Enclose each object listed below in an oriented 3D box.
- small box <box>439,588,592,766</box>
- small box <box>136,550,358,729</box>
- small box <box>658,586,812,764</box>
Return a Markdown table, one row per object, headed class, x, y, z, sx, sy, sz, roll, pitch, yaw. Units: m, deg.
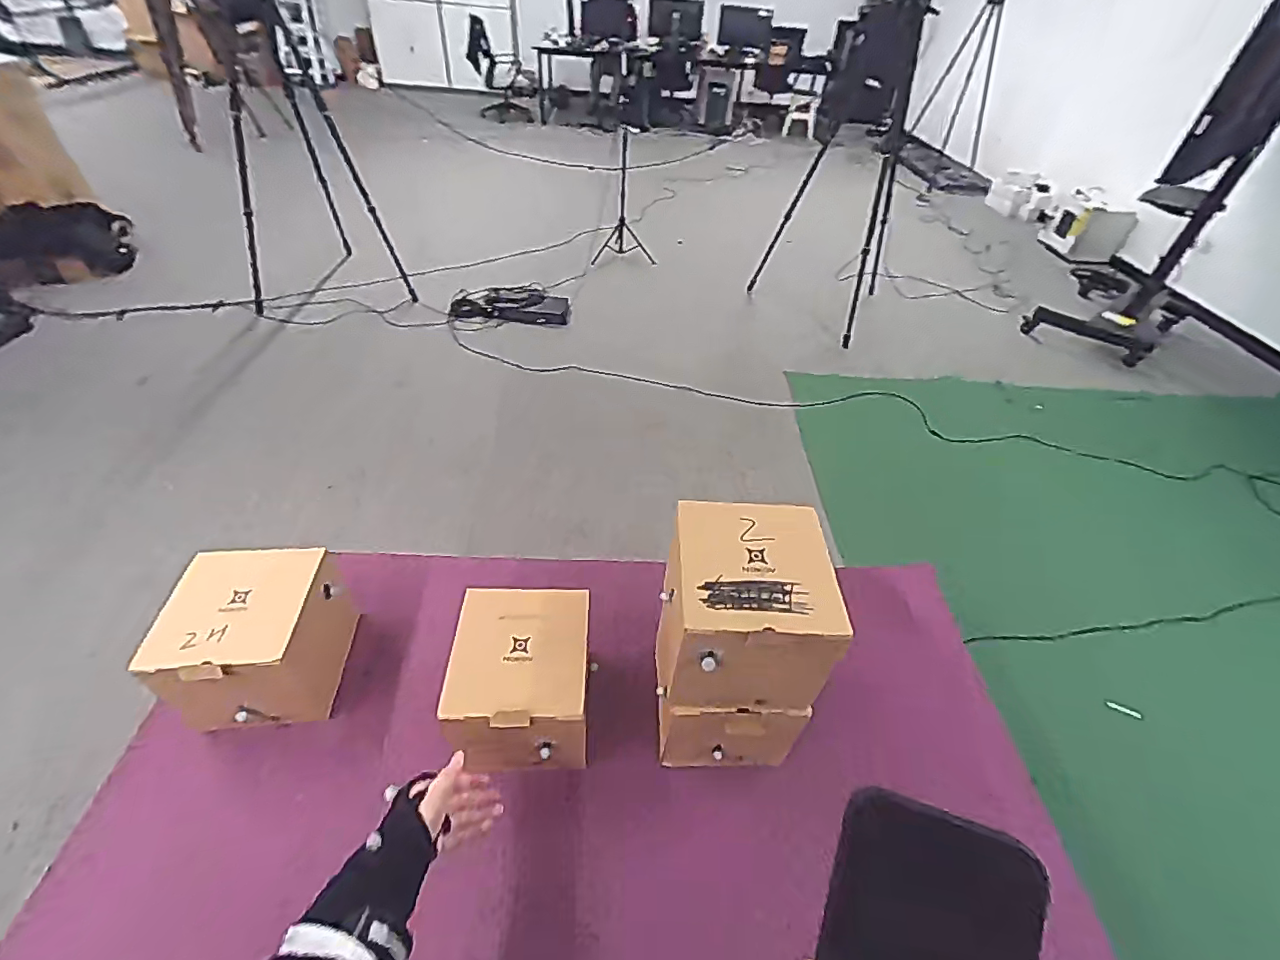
| class | x | y | z | sx | sy | sz | roll | pitch | yaw |
| --- | --- | --- | --- | --- | --- | --- | --- | --- | --- |
| small box | -0.150 | 0.266 | 0.722 | 0.168 | 0.176 | 0.179 | 2 | 43 | -4 |
| small box | -0.511 | 0.216 | 0.741 | 0.168 | 0.176 | 0.179 | -2 | 44 | -6 |
| small box | 0.115 | 0.266 | 0.742 | 0.168 | 0.176 | 0.179 | 1 | 45 | -3 |
